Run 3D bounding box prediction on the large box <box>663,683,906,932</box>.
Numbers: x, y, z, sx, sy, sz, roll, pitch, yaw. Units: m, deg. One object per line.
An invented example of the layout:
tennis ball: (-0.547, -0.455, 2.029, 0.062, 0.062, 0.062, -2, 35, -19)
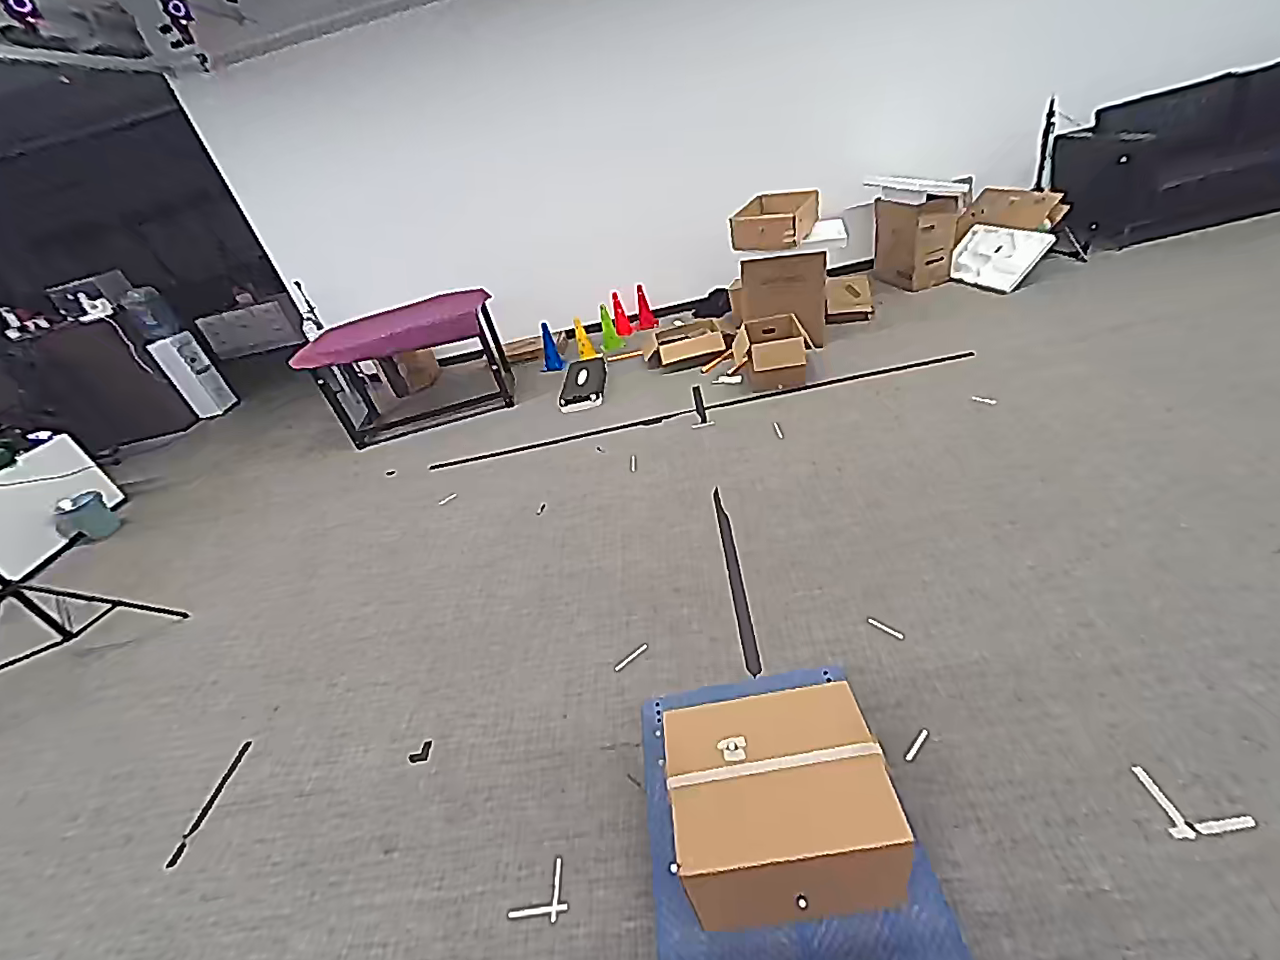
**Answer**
large box: (0.289, 0.687, 1.139, 0.408, 0.320, 0.320, -13, 33, 5)
